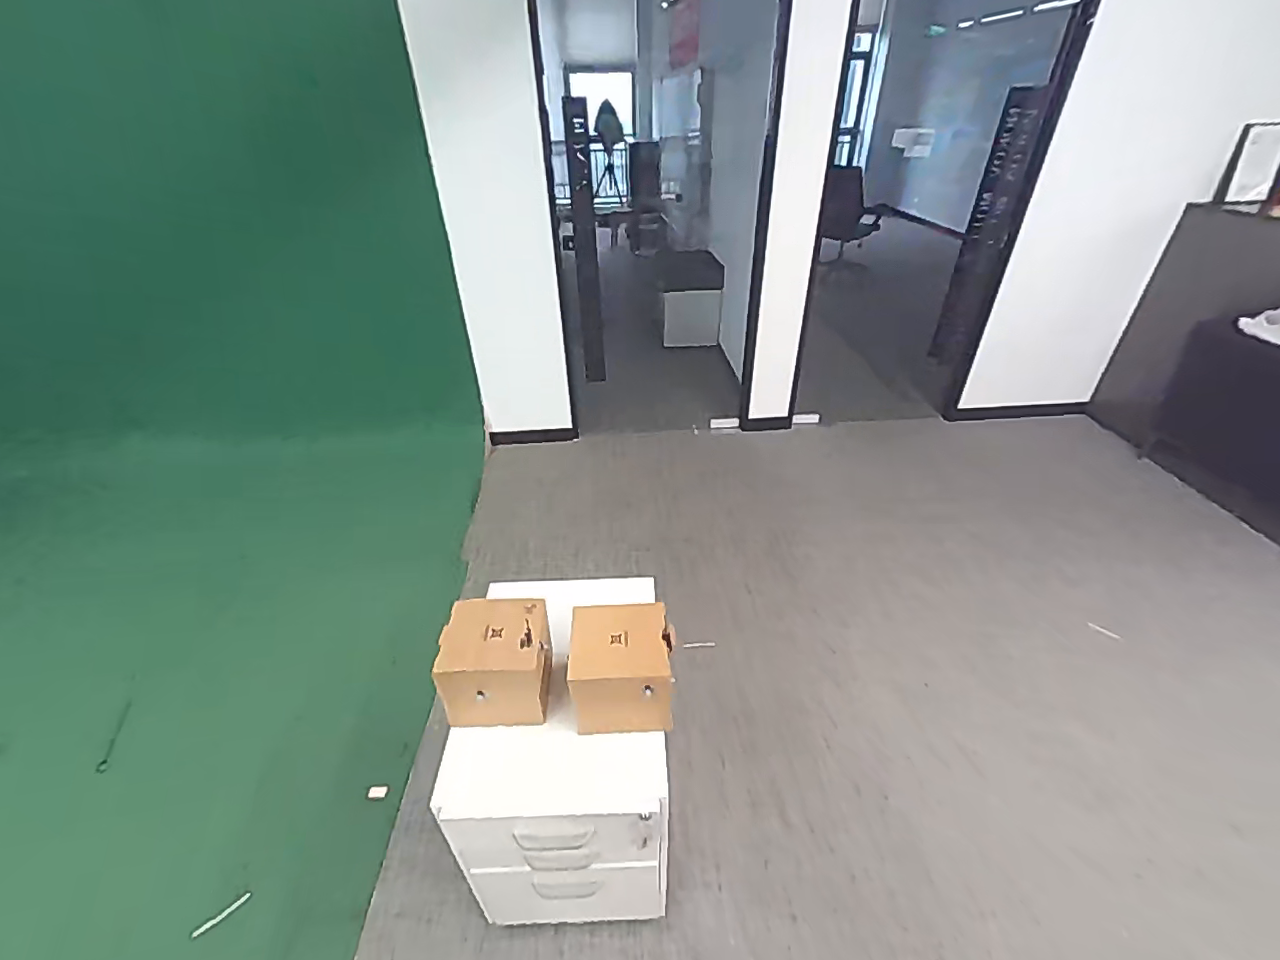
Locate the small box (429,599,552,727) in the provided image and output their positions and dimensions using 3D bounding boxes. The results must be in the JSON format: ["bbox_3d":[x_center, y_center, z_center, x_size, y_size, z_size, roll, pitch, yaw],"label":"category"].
[{"bbox_3d":[-0.269,0.344,1.016,0.179,0.176,0.168,-1,35,-2],"label":"small box"}]
